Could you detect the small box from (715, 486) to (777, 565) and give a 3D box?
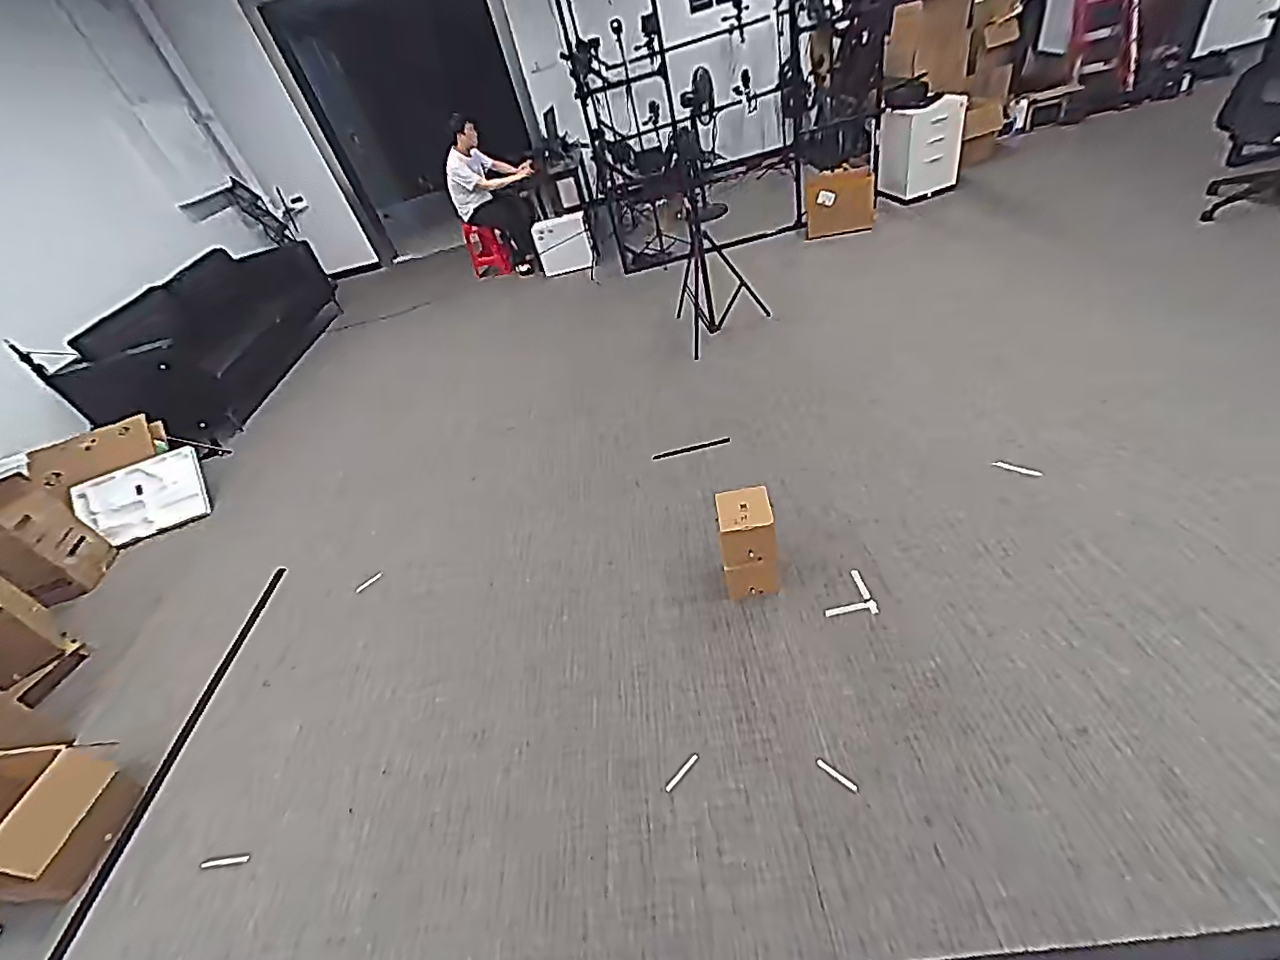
[{"bbox_3d":[0.339,0.147,1.734,0.168,0.176,0.179,-11,40,10],"label":"small box"}]
